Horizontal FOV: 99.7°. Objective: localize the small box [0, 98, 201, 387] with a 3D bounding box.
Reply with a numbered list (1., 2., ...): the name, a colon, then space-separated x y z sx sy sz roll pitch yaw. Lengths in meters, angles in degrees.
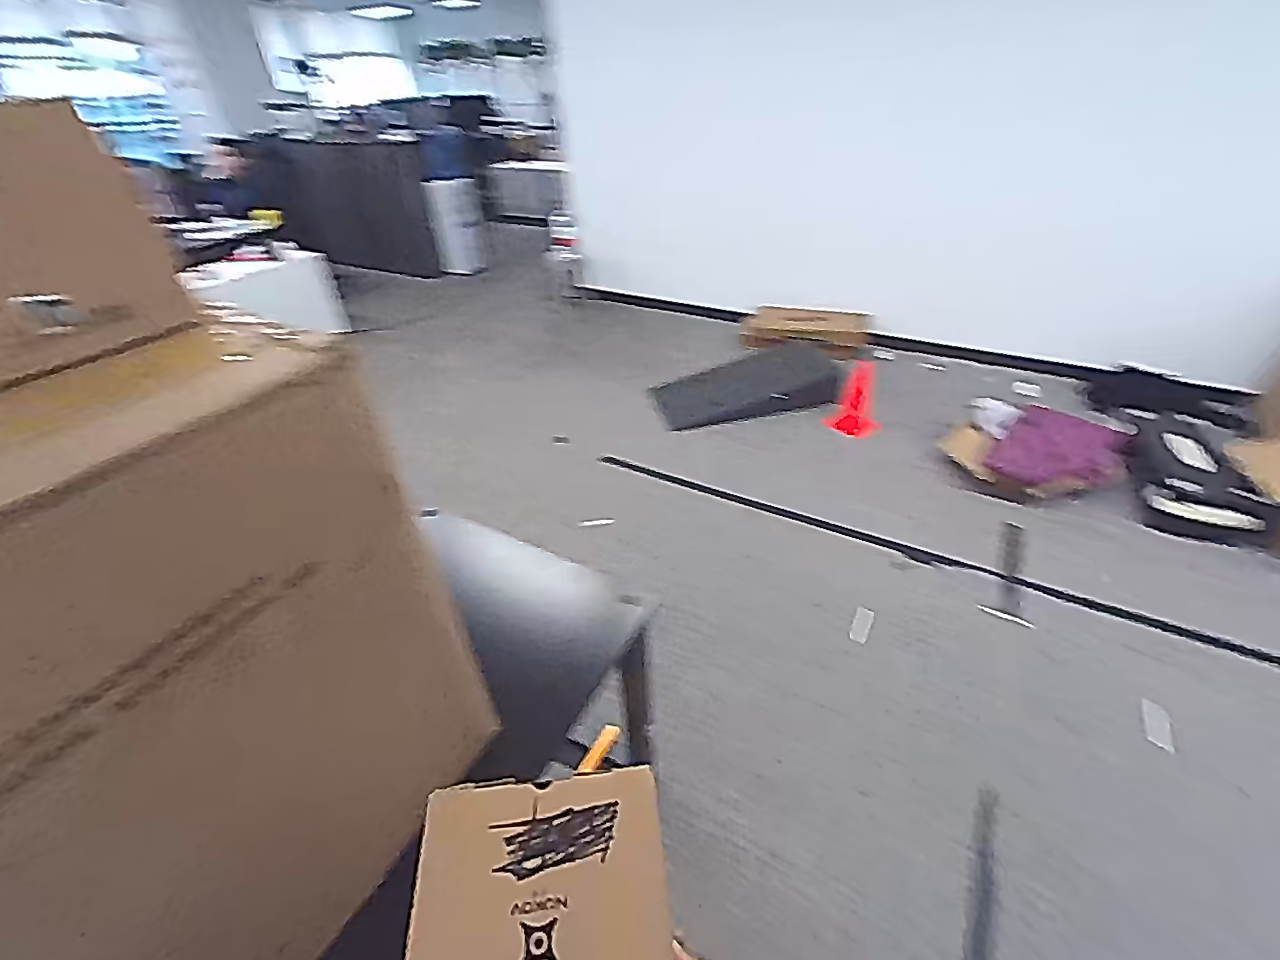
1. small box: -0.509 -0.188 0.425 0.179 0.176 0.168 18 44 26
